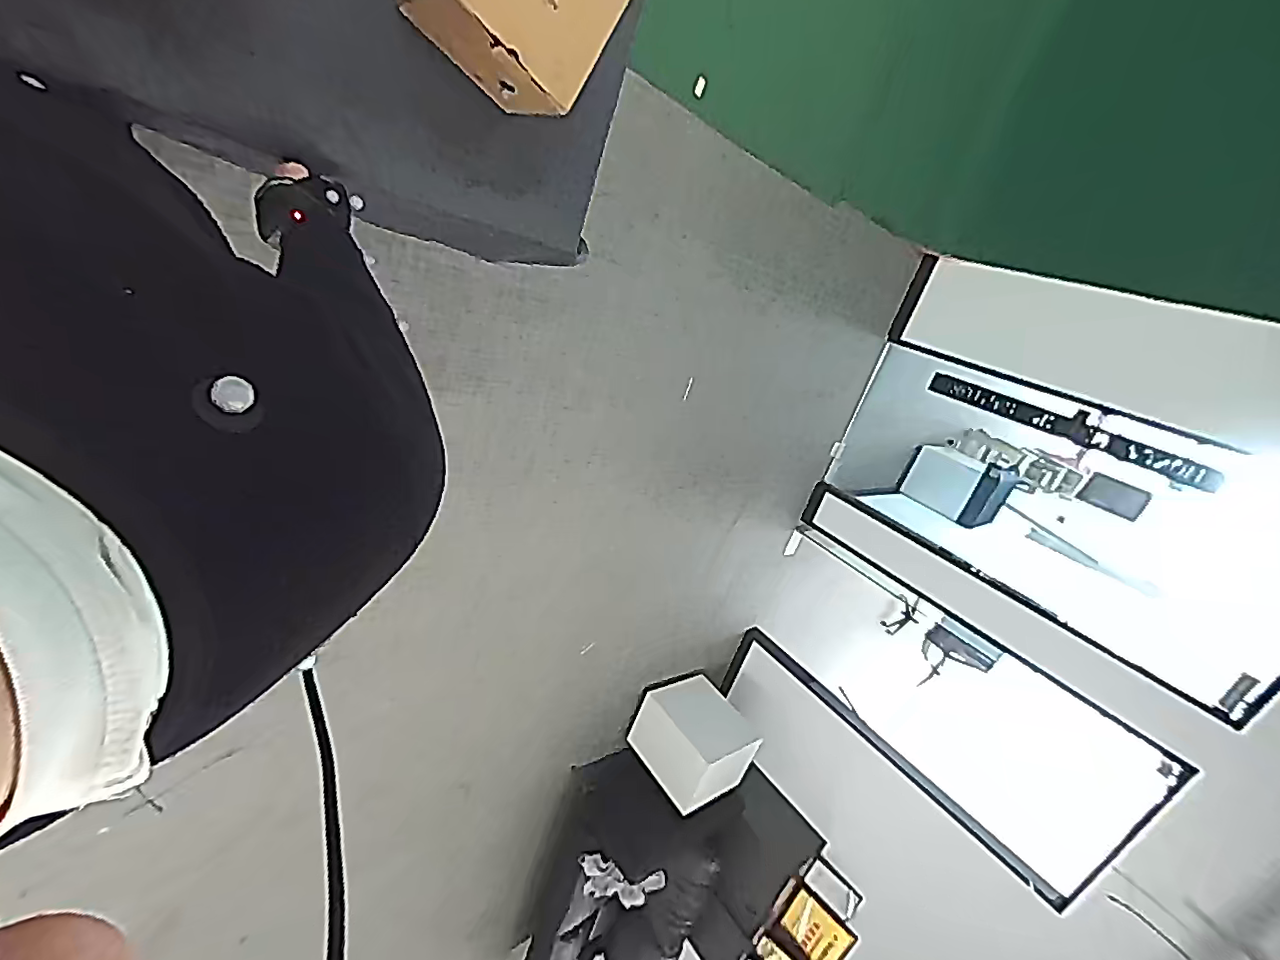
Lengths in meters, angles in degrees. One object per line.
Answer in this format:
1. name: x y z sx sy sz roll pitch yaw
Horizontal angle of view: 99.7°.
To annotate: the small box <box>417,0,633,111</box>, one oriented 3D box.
1. small box: -0.136 -0.569 0.625 0.168 0.176 0.179 23 101 -49
